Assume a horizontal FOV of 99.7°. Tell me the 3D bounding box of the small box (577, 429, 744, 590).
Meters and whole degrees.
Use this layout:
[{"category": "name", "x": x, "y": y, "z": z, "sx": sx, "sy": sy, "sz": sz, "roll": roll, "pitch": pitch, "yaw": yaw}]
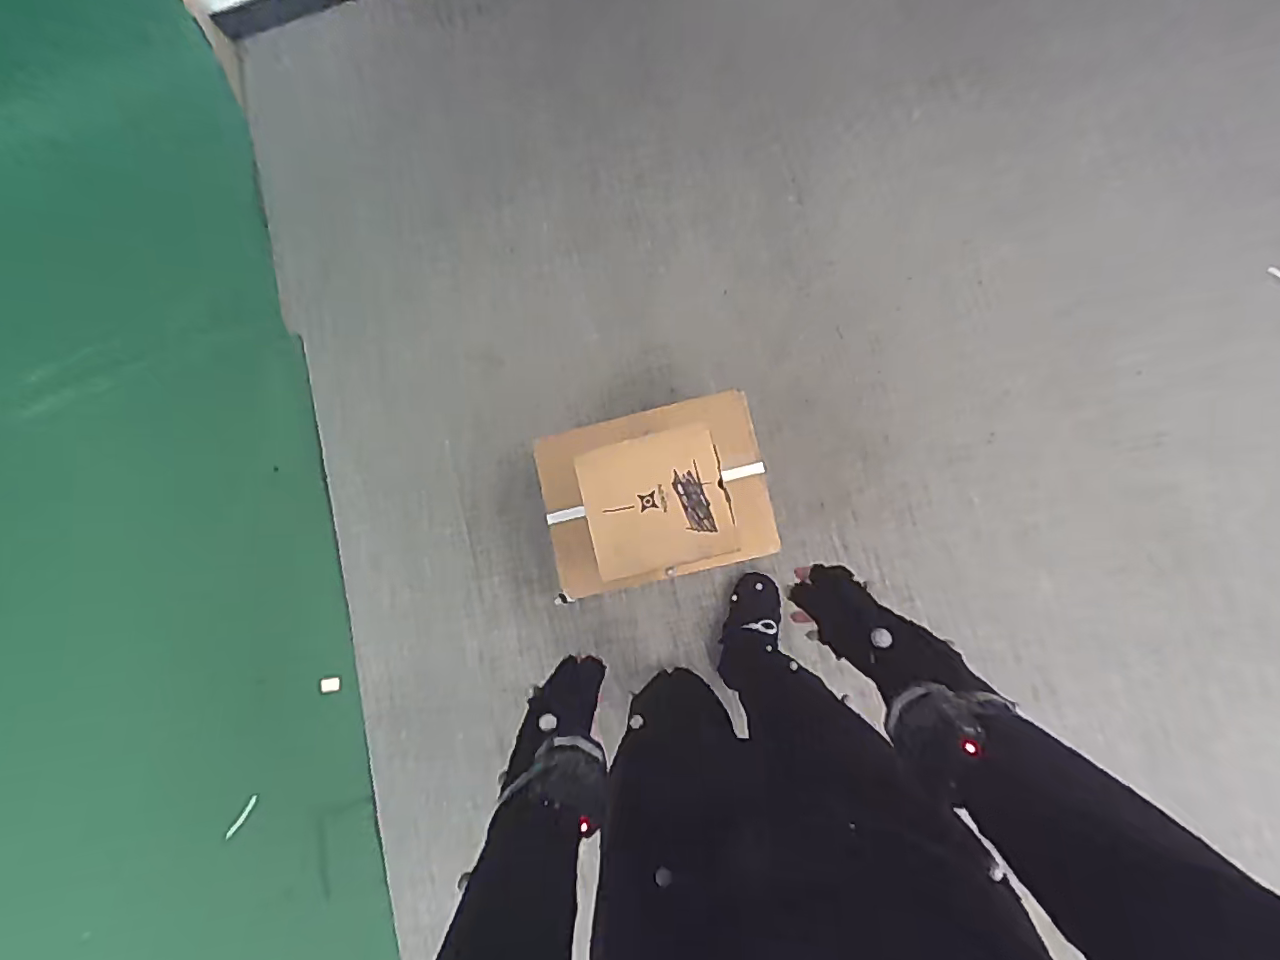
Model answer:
[{"category": "small box", "x": 0.031, "y": 0.041, "z": 0.737, "sx": 0.179, "sy": 0.176, "sz": 0.168, "roll": -15, "pitch": 83, "yaw": 6}]
